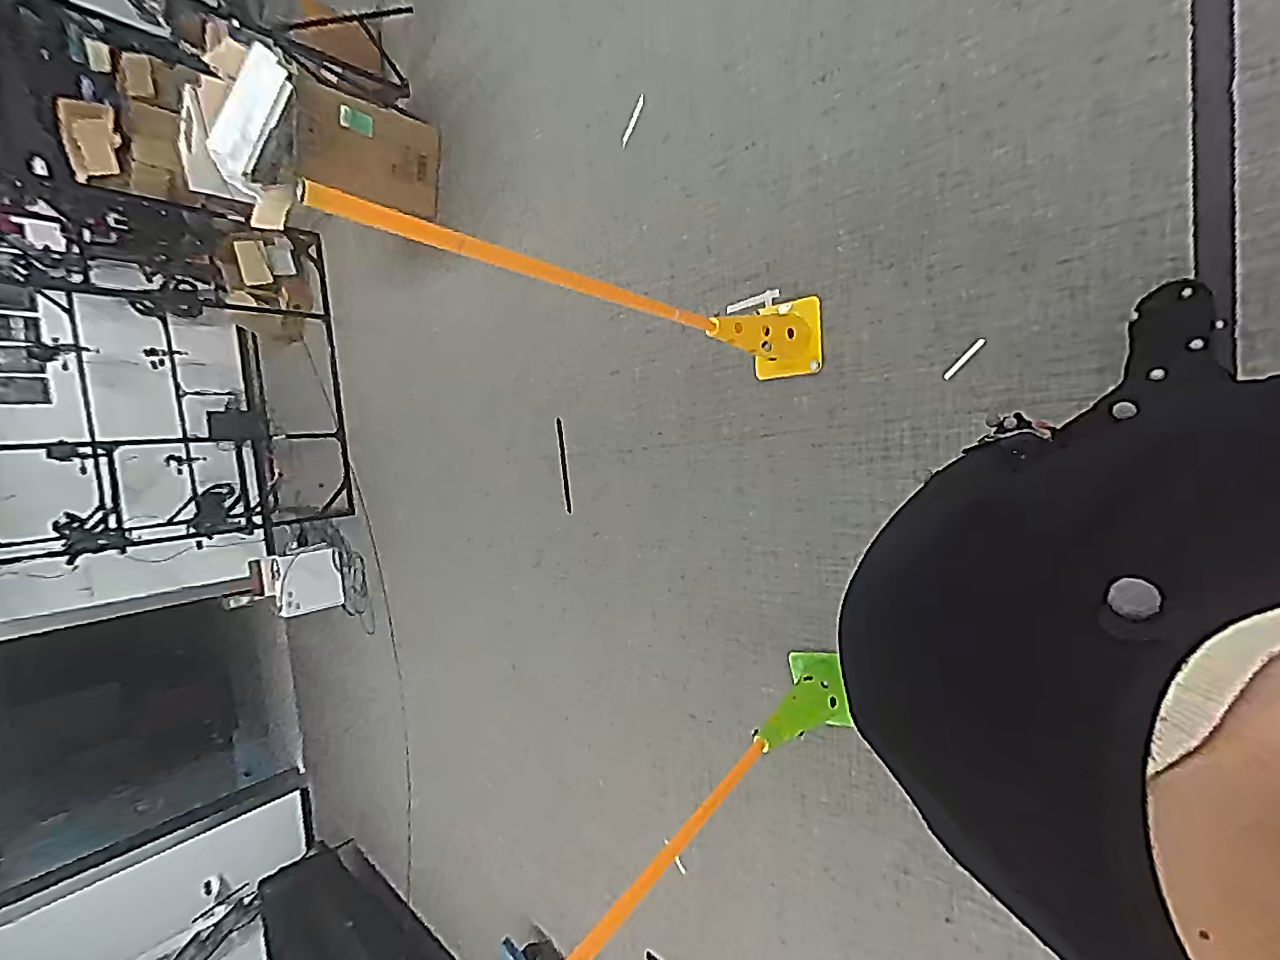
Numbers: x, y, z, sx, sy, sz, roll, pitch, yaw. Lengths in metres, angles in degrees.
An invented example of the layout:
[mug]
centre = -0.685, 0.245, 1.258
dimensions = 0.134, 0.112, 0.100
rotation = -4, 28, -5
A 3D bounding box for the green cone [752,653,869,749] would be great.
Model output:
[green cone]
centre = 0.404, 0.593, 1.373
dimensions = 0.200, 0.368, 0.202
rotation = -17, 82, 43
